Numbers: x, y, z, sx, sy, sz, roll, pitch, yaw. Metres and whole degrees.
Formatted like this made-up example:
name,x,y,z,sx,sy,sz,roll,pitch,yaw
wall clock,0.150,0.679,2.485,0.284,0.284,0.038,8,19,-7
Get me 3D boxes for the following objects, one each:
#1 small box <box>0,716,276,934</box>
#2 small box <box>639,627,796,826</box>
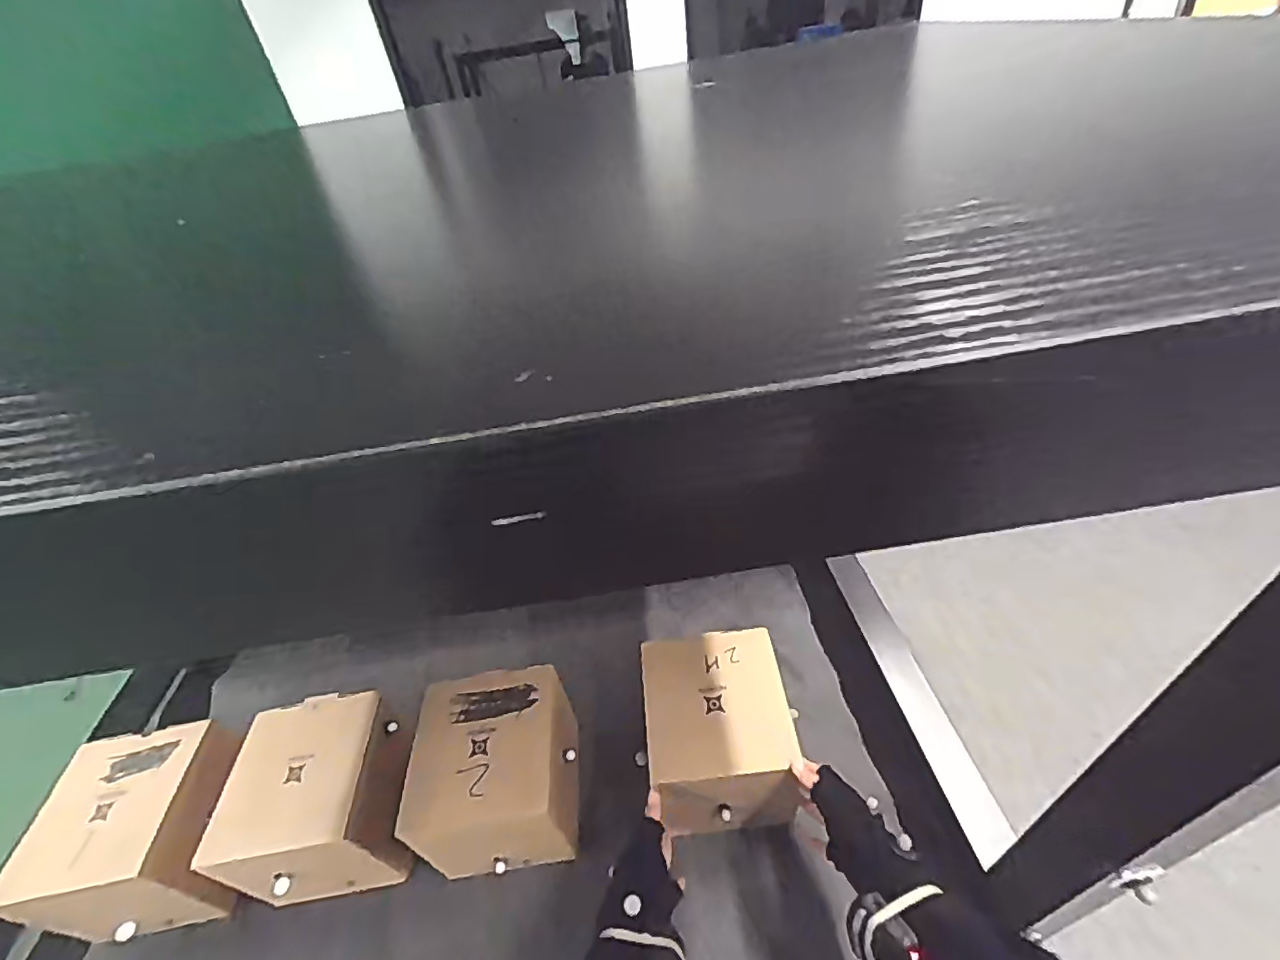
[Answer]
name,x,y,z,sx,sy,sz,roll,pitch,yaw
small box,-0.607,0.435,0.685,0.168,0.176,0.179,-11,40,-1
small box,0.092,0.313,0.681,0.168,0.176,0.179,-7,40,3
